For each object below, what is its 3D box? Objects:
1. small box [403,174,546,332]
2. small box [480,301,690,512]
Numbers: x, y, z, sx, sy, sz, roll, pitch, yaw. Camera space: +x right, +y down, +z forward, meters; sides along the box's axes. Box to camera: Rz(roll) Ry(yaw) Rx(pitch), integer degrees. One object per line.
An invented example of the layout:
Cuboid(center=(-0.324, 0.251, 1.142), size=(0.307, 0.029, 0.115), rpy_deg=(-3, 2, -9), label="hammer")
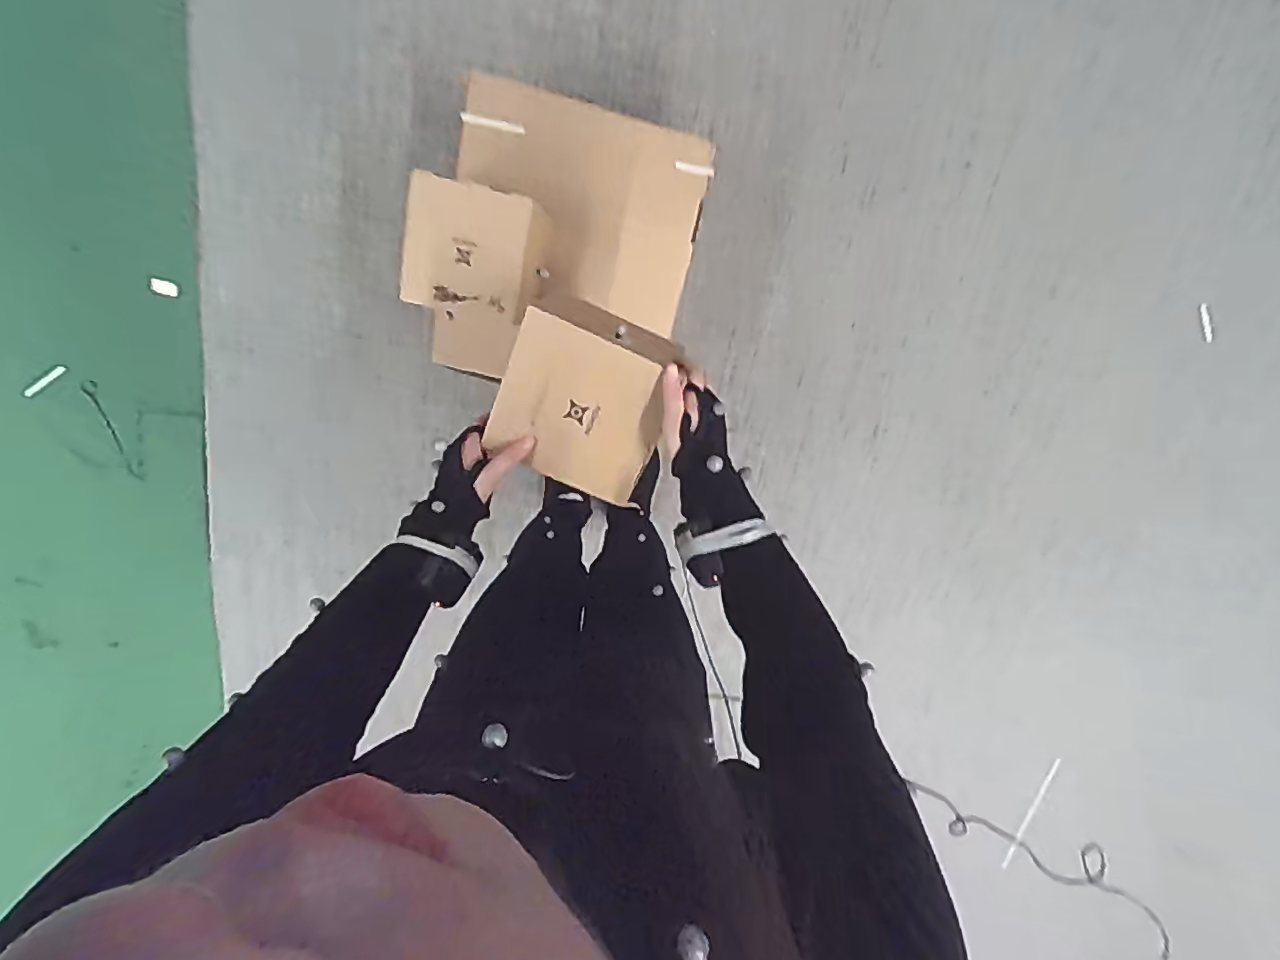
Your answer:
Cuboid(center=(-0.244, -0.335, 0.832), size=(0.168, 0.176, 0.179), rpy_deg=(12, 105, -6), label="small box")
Cuboid(center=(-0.057, -0.096, 0.635), size=(0.179, 0.176, 0.168), rpy_deg=(25, 113, -8), label="small box")
